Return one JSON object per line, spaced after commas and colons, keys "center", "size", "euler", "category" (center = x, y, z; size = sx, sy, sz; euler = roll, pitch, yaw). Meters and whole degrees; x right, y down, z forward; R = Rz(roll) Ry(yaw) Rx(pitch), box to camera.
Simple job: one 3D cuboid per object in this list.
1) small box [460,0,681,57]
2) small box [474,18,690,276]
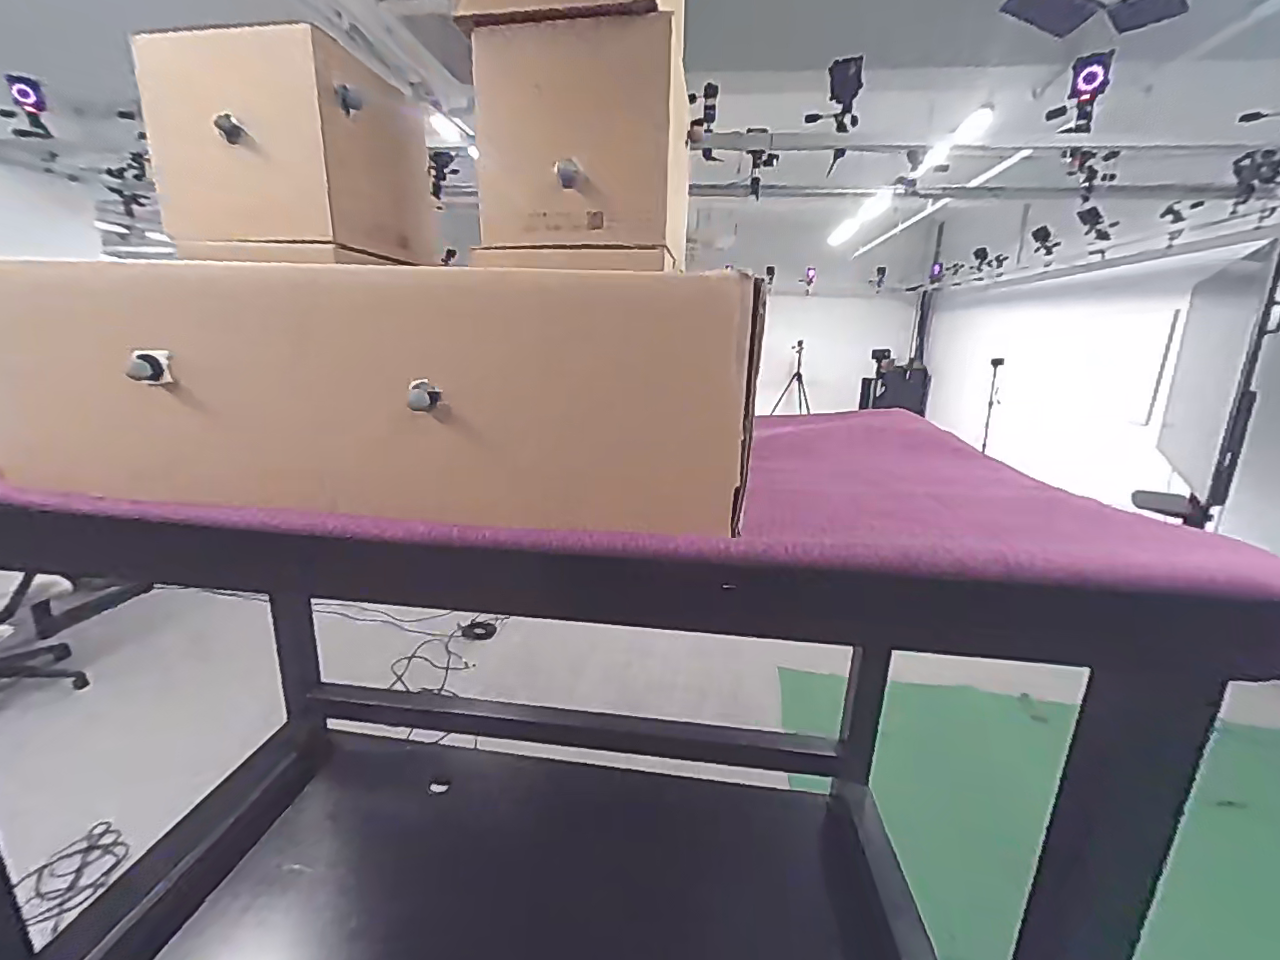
{"center": [-0.055, -0.451, 0.480], "size": [0.168, 0.176, 0.179], "euler": [3, 15, 10], "category": "small box"}
{"center": [-0.044, -0.294, 0.522], "size": [0.168, 0.176, 0.179], "euler": [3, 14, 9], "category": "small box"}
